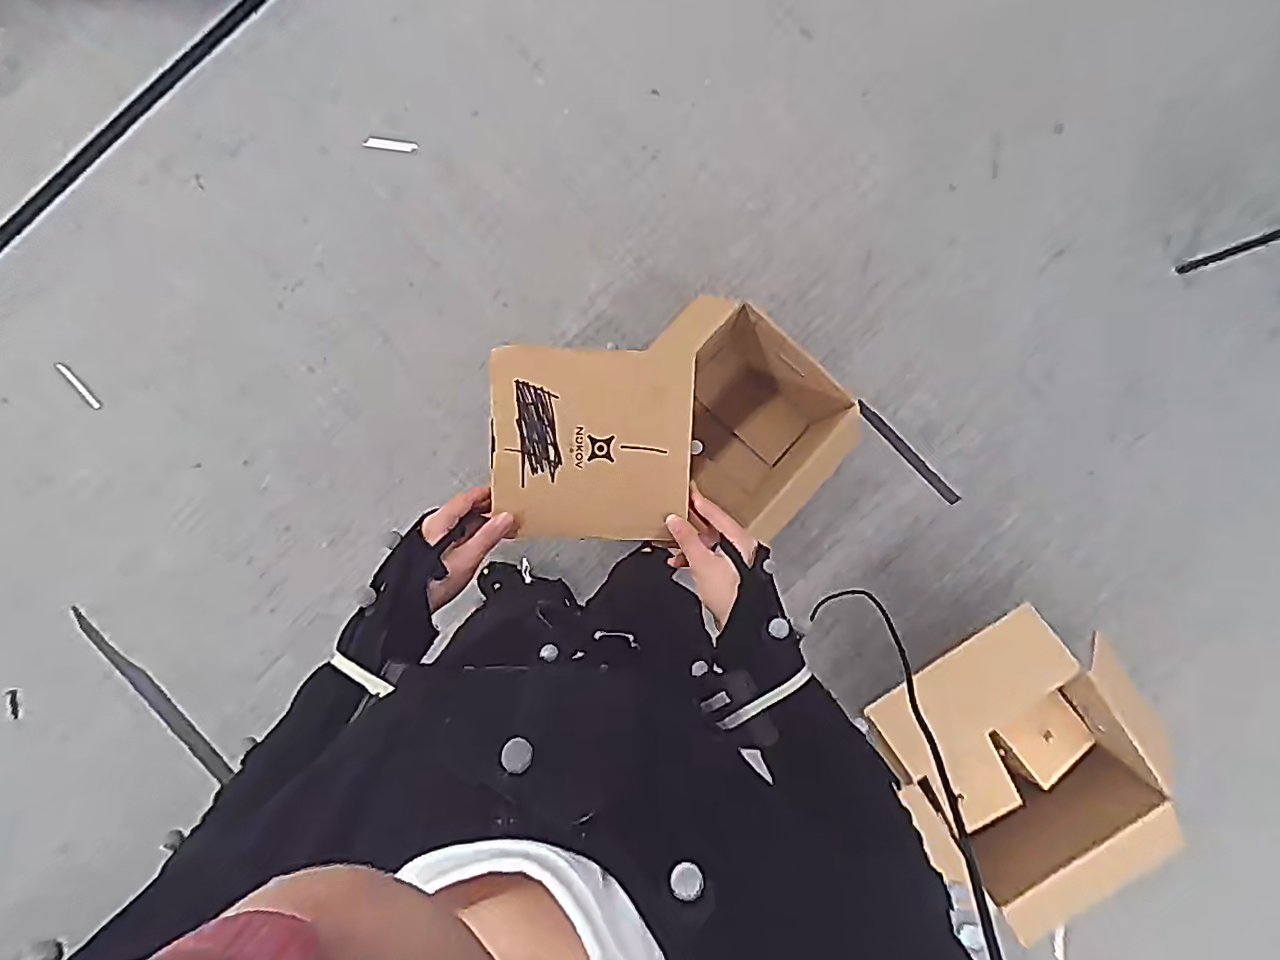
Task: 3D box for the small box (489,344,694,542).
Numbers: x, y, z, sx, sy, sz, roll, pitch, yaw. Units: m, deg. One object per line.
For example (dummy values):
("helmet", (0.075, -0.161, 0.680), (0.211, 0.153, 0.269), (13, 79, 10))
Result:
("small box", (-0.040, -0.040, 0.545), (0.179, 0.176, 0.168), (2, 98, 2))
